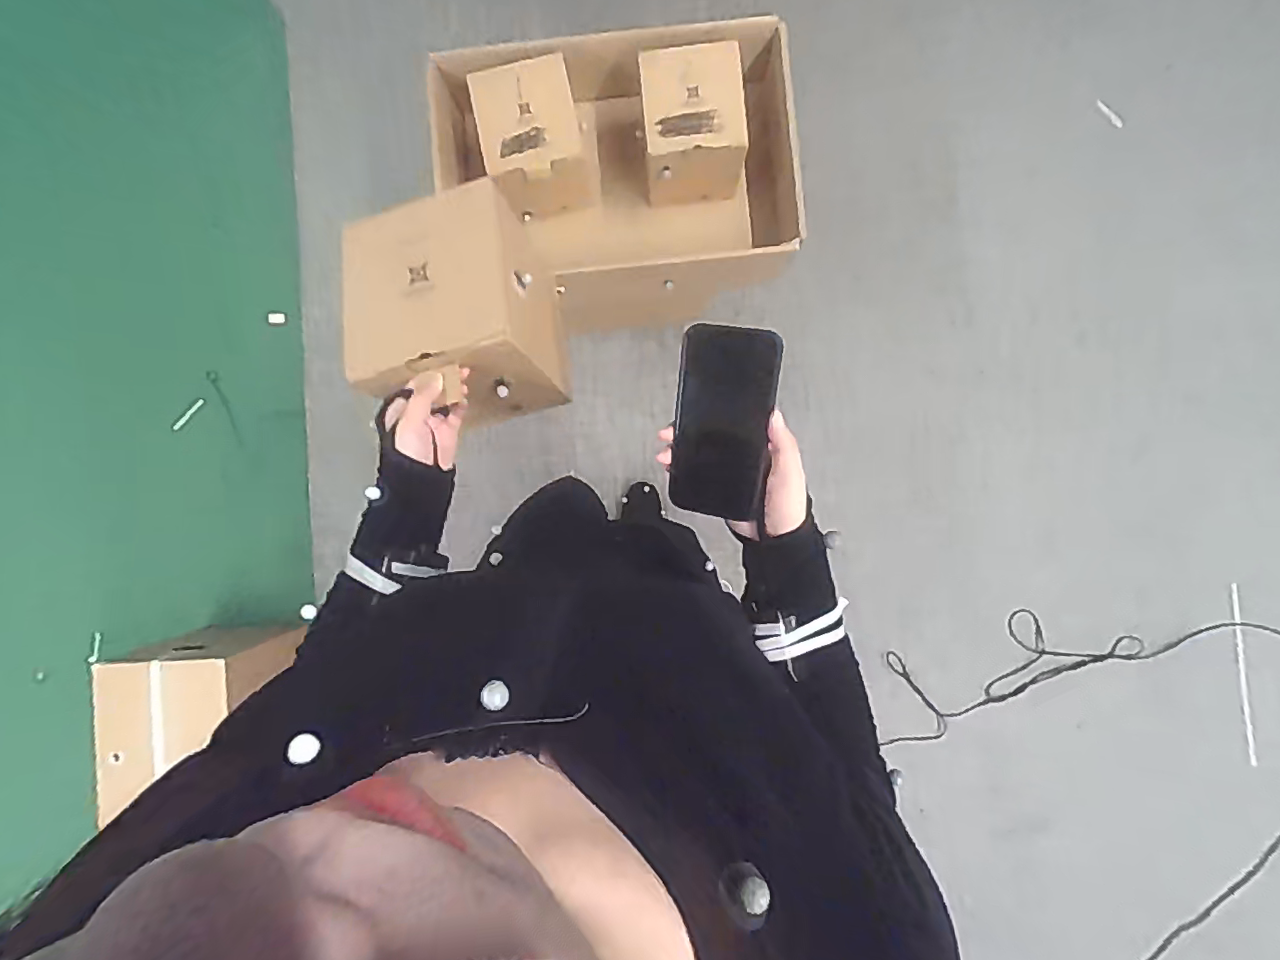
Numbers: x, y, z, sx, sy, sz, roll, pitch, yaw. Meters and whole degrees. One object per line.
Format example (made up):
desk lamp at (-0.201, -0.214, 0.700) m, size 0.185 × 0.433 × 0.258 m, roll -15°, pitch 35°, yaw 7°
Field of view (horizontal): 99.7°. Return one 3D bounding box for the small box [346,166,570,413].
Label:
small box at (-0.184, -0.183, 0.580) m, size 0.168 × 0.176 × 0.179 m, roll -11°, pitch 76°, yaw 11°
